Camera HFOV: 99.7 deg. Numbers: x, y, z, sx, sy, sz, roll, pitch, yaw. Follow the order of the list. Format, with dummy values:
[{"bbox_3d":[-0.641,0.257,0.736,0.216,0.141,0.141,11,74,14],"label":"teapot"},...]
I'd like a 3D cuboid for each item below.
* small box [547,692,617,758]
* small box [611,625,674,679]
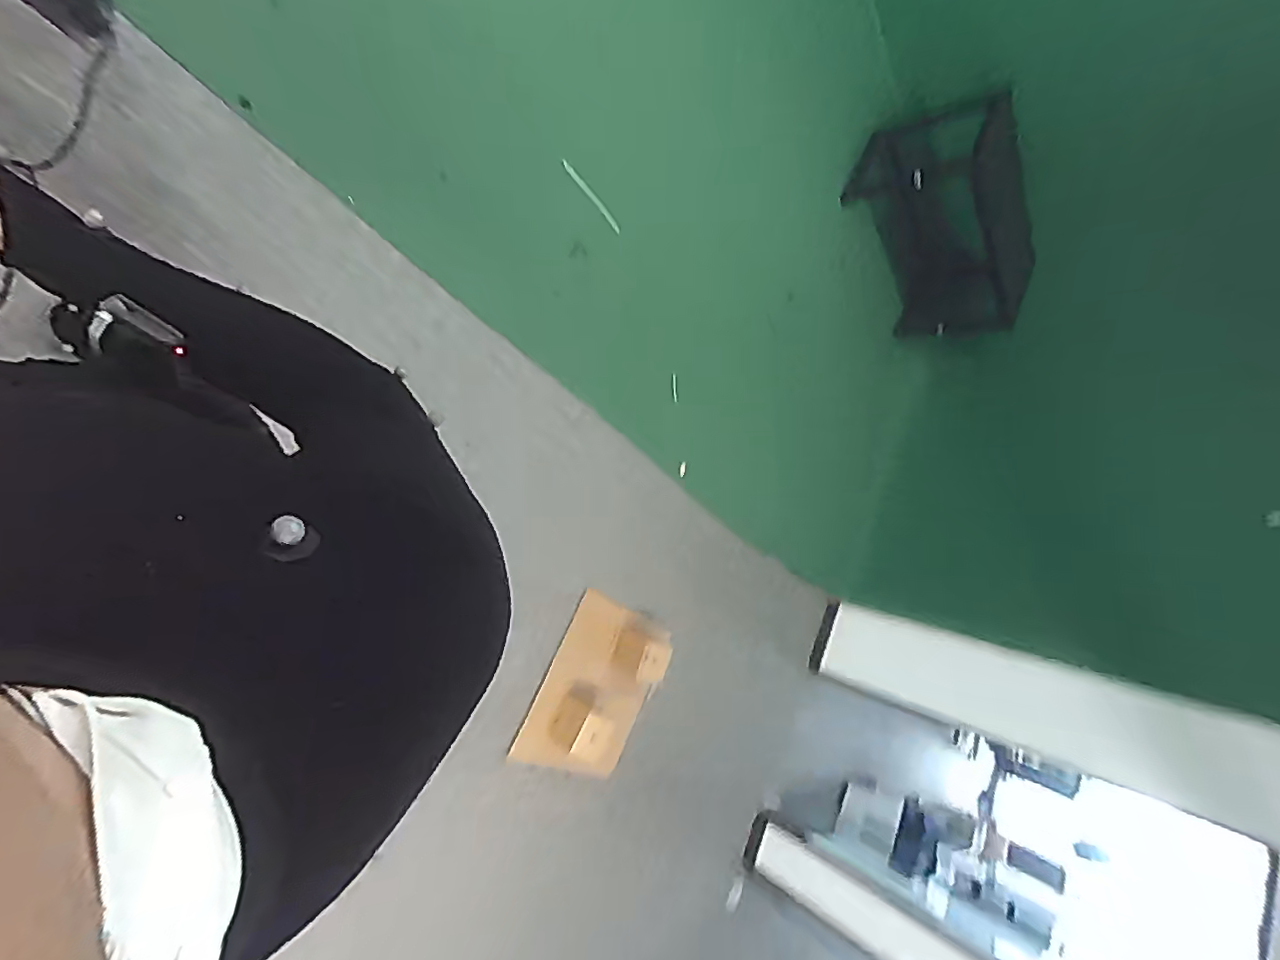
[{"bbox_3d":[-0.230,0.955,2.120,0.179,0.176,0.168,43,68,-40],"label":"small box"},{"bbox_3d":[0.009,0.733,2.312,0.179,0.176,0.168,28,78,-43],"label":"small box"}]
